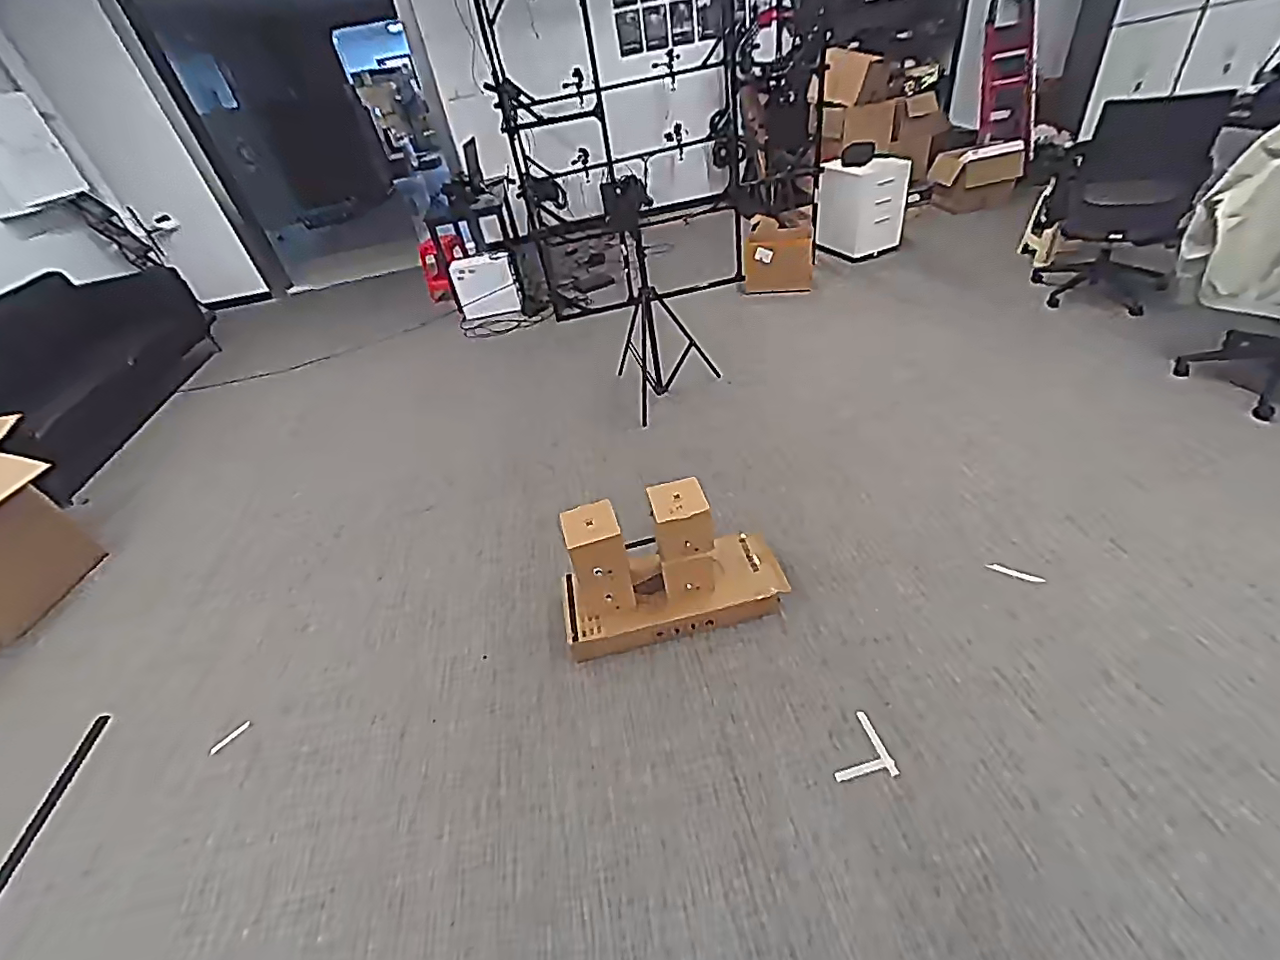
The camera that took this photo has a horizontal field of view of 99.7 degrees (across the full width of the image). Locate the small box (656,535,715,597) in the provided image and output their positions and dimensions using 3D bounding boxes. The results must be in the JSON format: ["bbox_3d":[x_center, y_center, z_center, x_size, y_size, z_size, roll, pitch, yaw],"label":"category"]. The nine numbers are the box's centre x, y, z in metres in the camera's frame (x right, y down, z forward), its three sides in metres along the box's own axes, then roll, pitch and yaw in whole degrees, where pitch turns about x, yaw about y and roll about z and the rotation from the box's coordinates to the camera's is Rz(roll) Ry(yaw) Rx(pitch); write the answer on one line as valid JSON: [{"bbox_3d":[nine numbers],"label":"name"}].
[{"bbox_3d":[0.150,0.261,1.803,0.168,0.176,0.179,-12,39,1],"label":"small box"}]

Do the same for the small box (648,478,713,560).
[{"bbox_3d":[0.128,0.123,1.712,0.168,0.176,0.179,-14,38,-3],"label":"small box"}]

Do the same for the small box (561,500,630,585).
[{"bbox_3d":[-0.139,0.195,1.689,0.168,0.176,0.179,-17,39,-7],"label":"small box"}]

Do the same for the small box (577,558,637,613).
[{"bbox_3d":[-0.111,0.321,1.790,0.168,0.176,0.179,-12,39,-1],"label":"small box"}]
